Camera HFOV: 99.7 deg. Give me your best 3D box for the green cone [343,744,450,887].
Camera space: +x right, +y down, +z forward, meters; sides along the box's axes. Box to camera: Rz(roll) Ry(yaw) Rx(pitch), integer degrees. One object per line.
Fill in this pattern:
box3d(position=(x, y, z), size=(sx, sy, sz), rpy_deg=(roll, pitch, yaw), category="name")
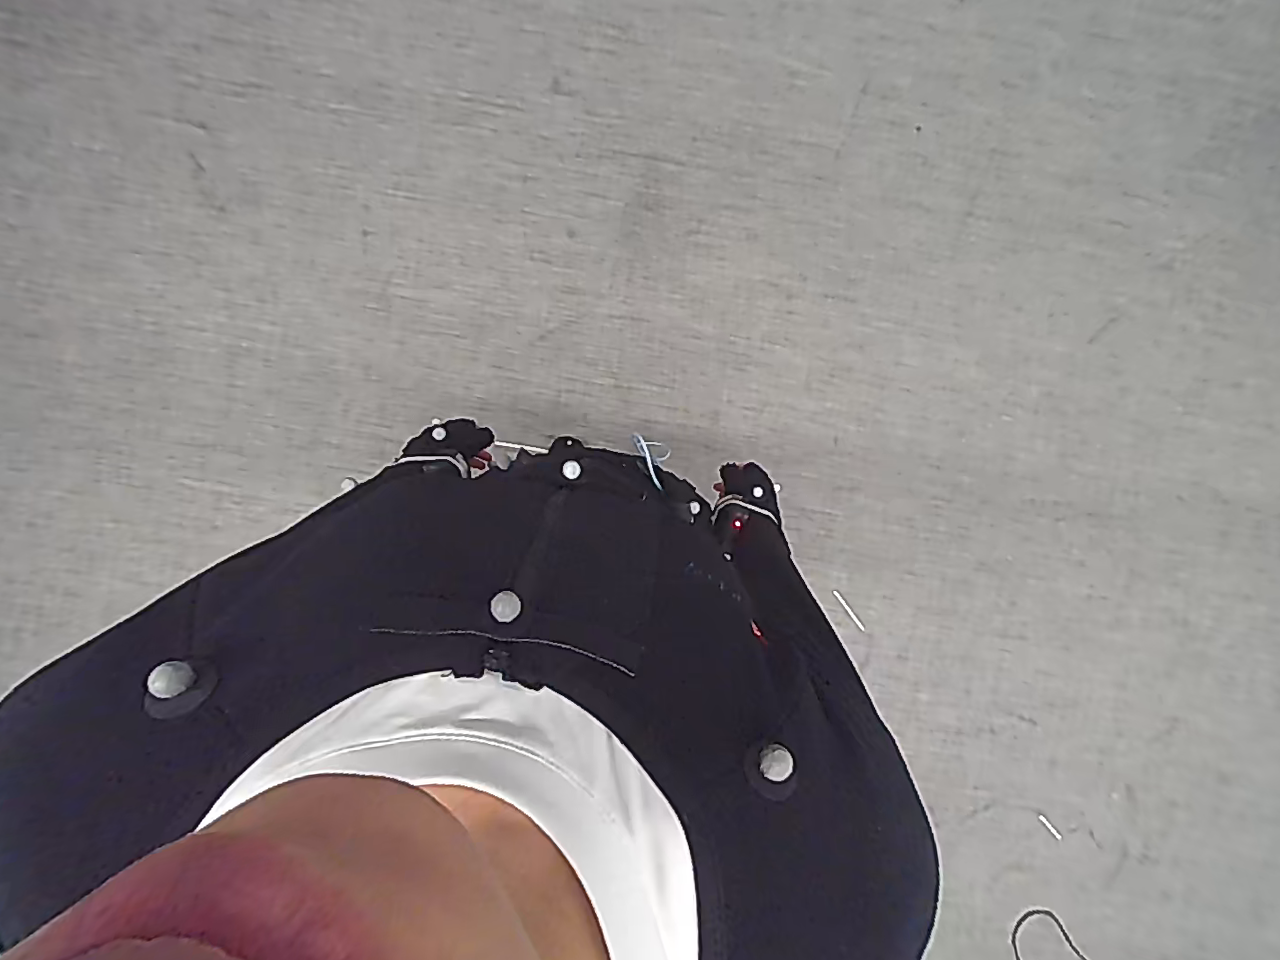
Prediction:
box3d(position=(-0.640, 0.861, 1.356), size=(0.202, 0.368, 0.200), rpy_deg=(8, 94, -3), category="green cone")
